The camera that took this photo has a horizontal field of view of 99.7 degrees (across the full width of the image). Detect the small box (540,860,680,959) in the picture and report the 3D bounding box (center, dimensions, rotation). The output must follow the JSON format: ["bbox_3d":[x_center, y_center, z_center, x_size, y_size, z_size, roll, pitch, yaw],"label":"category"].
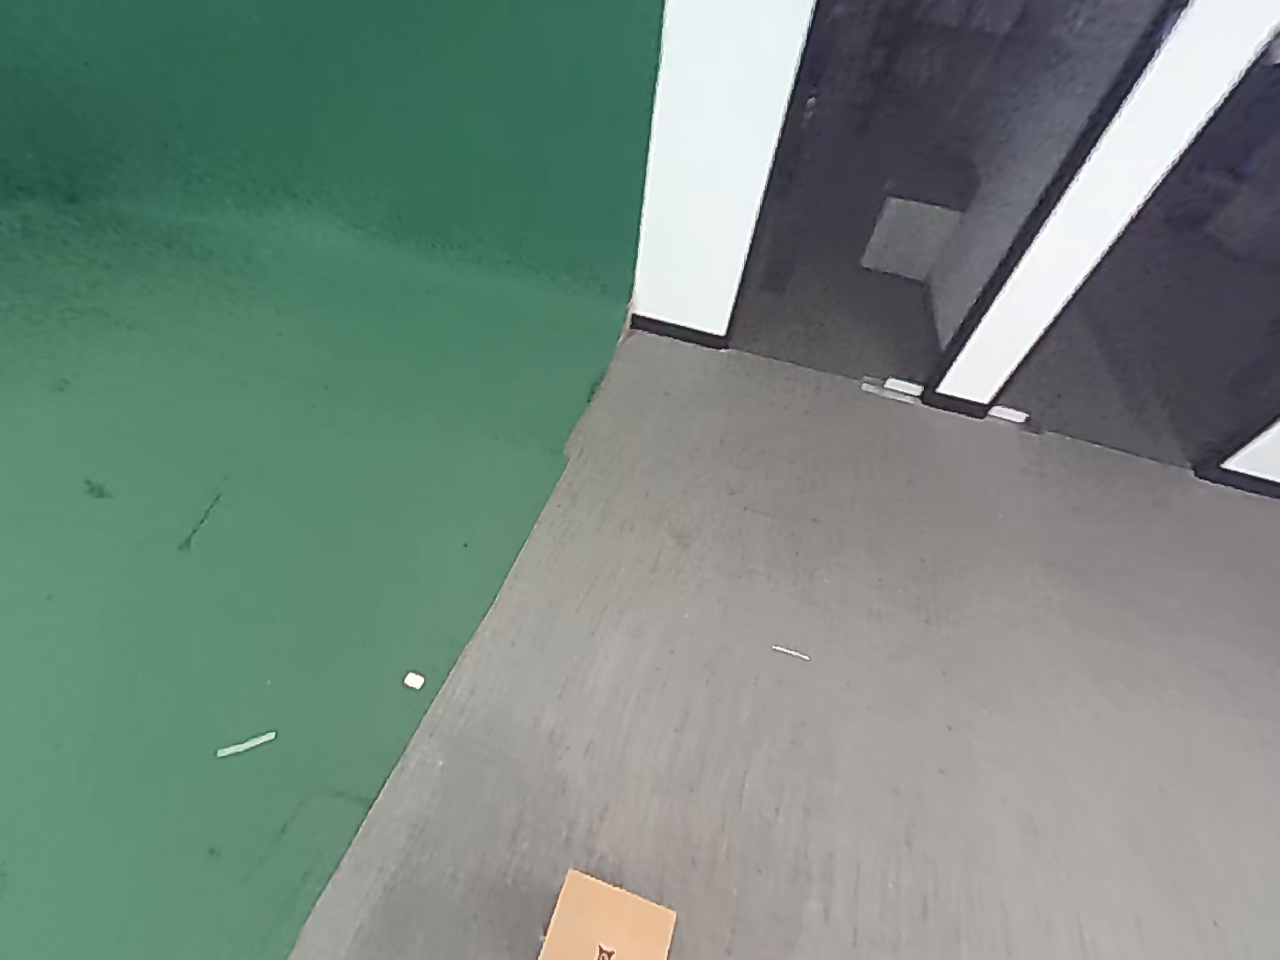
[{"bbox_3d":[-0.053,0.685,0.772,0.168,0.176,0.179,16,48,9],"label":"small box"}]
